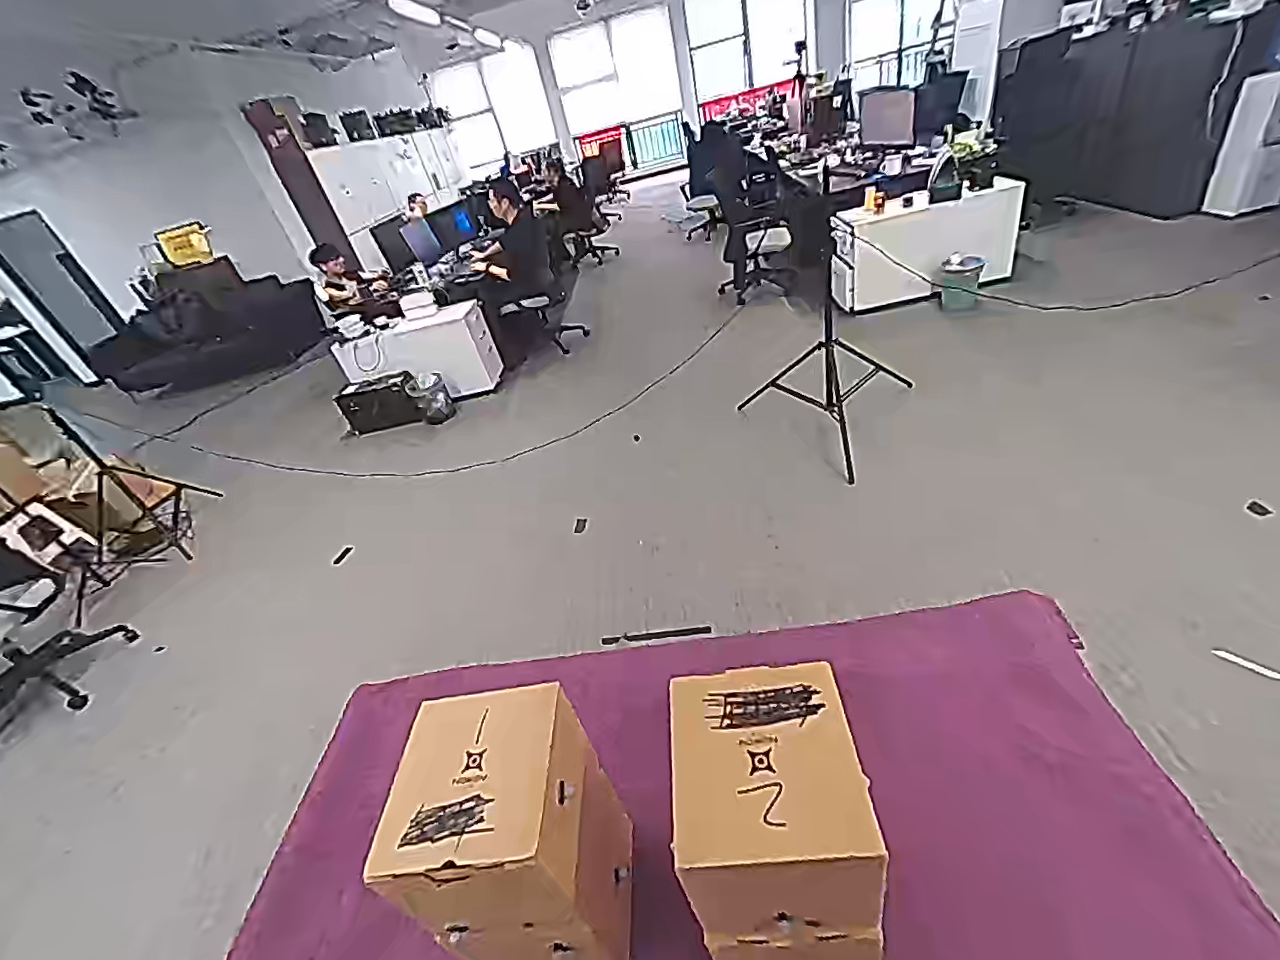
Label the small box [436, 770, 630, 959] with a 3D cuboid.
[{"bbox_3d":[-0.113,0.487,0.667,0.179,0.176,0.168,-10,34,8],"label":"small box"}]

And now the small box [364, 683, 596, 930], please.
[{"bbox_3d":[-0.150,0.352,0.581,0.168,0.176,0.179,-11,34,7],"label":"small box"}]

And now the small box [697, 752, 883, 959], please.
[{"bbox_3d":[0.162,0.445,0.618,0.168,0.176,0.179,-10,34,8],"label":"small box"}]
